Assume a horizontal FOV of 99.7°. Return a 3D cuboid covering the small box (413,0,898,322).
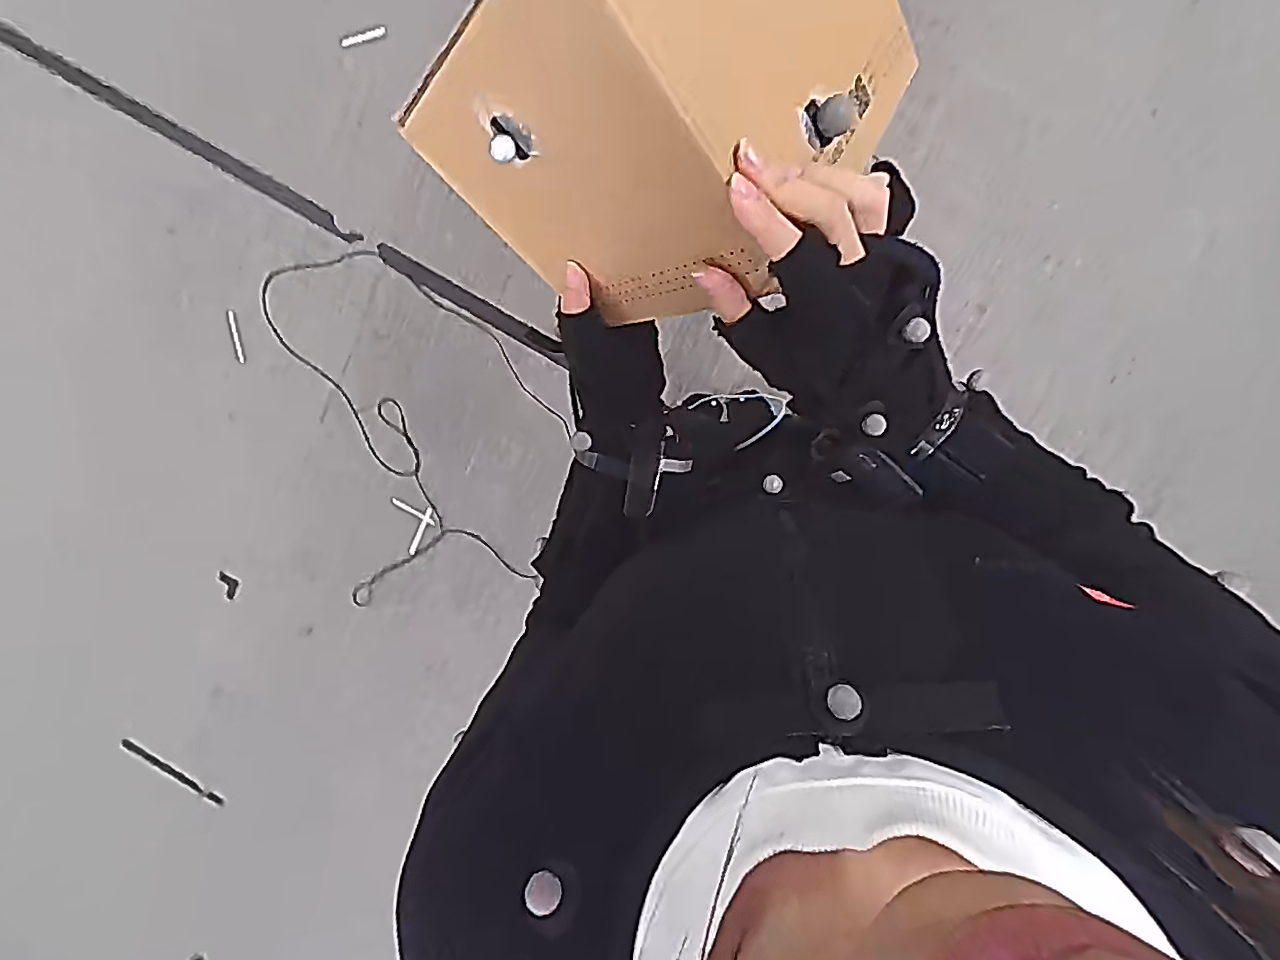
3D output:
[{"bbox_3d":[0.009,-0.210,0.310,0.176,0.179,0.168,38,74,-35],"label":"small box"}]
